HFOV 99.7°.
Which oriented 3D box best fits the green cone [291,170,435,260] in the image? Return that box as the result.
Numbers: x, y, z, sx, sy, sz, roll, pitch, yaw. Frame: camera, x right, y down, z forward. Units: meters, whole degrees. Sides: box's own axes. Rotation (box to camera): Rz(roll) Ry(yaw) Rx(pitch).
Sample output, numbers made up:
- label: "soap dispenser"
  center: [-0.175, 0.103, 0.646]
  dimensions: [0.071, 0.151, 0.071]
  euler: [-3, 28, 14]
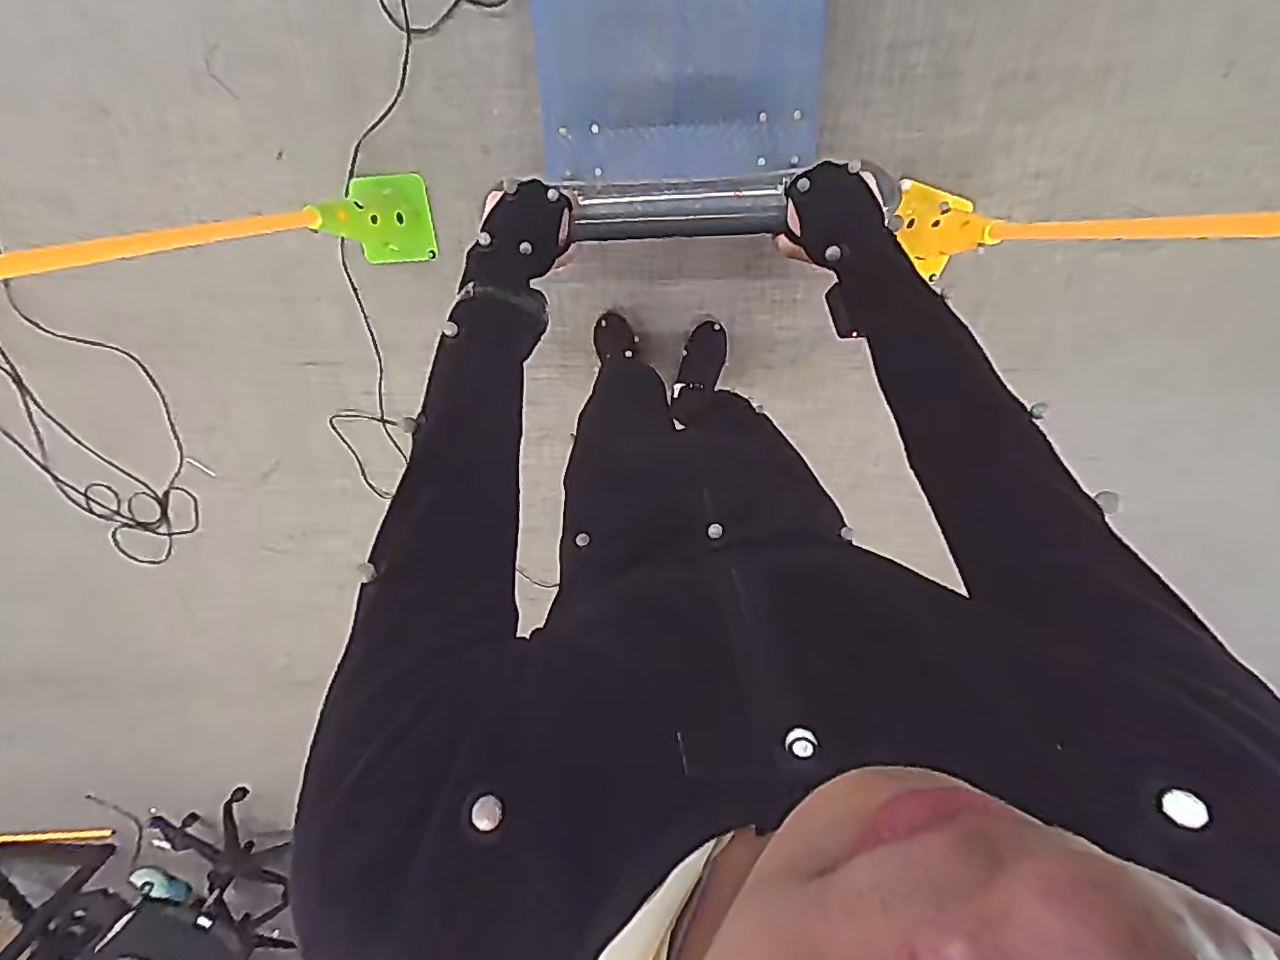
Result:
- label: "green cone"
  center: [-0.651, -0.605, 1.230]
  dimensions: [0.202, 0.368, 0.200]
  euler: [-2, 115, 6]
